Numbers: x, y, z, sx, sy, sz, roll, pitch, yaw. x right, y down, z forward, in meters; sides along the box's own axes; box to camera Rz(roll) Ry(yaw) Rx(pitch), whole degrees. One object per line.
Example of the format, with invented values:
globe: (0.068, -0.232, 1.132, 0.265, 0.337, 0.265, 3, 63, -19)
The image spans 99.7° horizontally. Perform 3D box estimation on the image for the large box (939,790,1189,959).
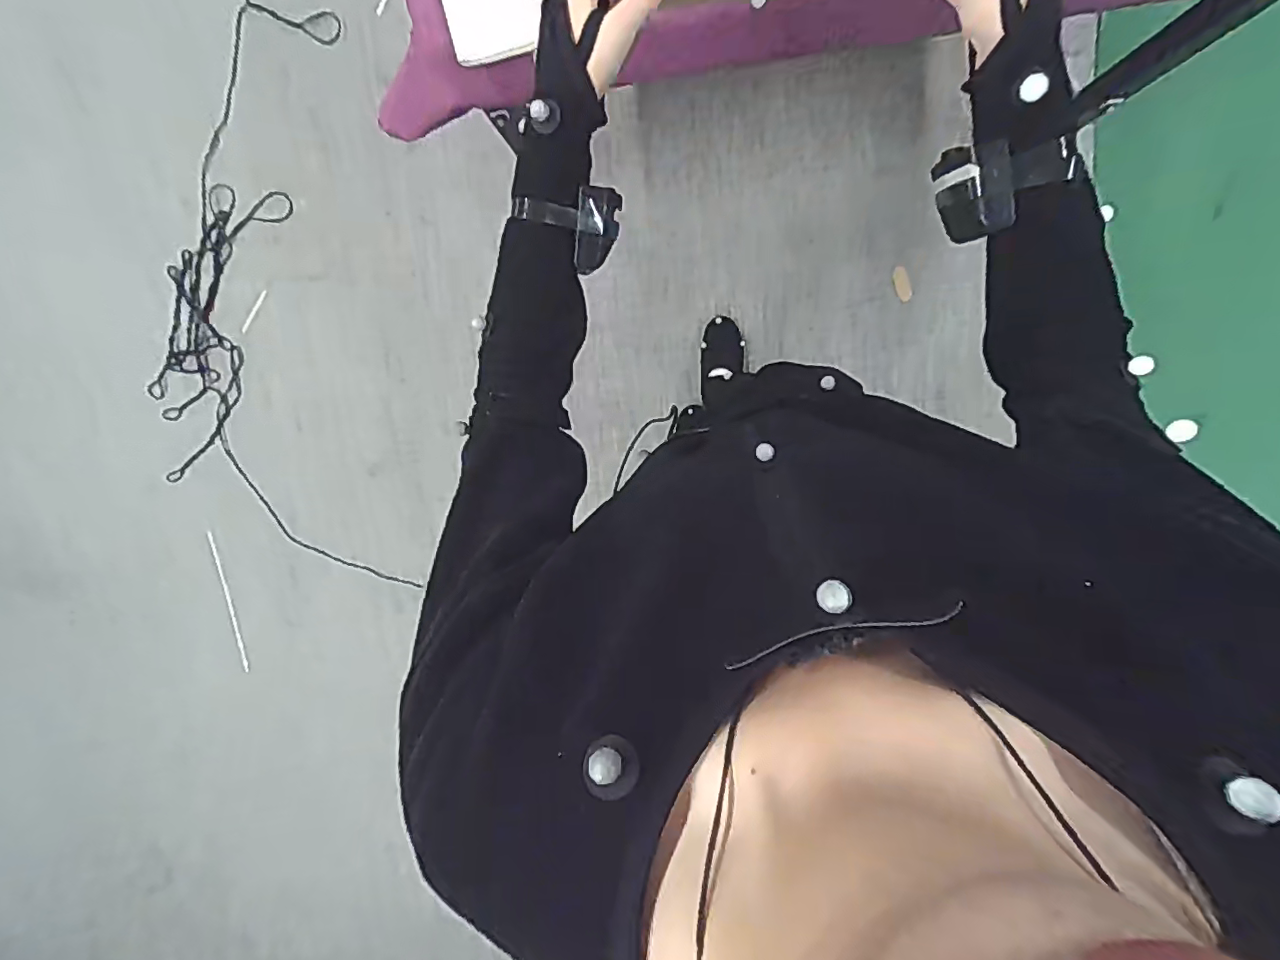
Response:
large box: (1.109, 1.116, 1.452, 0.408, 0.320, 0.320, -19, 98, 7)

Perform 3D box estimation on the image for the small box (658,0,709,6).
small box: (0.087, -0.449, 0.365, 0.179, 0.176, 0.168, -5, 125, 6)
